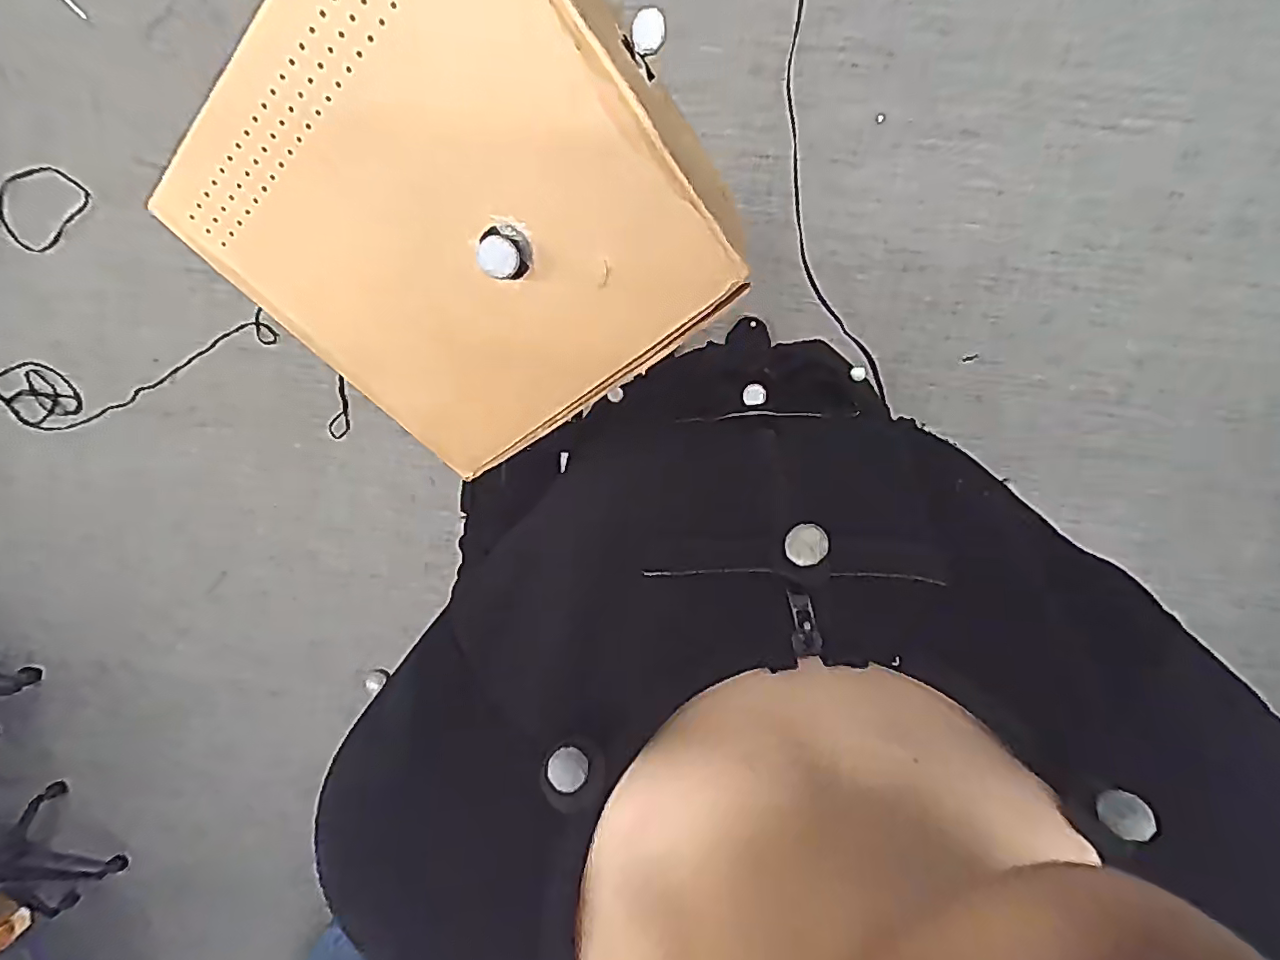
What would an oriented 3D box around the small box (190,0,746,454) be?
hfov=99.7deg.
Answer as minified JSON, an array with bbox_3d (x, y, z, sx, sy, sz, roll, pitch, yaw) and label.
[{"bbox_3d":[-0.070,-0.153,0.277,0.179,0.168,0.176,-30,120,26],"label":"small box"}]
